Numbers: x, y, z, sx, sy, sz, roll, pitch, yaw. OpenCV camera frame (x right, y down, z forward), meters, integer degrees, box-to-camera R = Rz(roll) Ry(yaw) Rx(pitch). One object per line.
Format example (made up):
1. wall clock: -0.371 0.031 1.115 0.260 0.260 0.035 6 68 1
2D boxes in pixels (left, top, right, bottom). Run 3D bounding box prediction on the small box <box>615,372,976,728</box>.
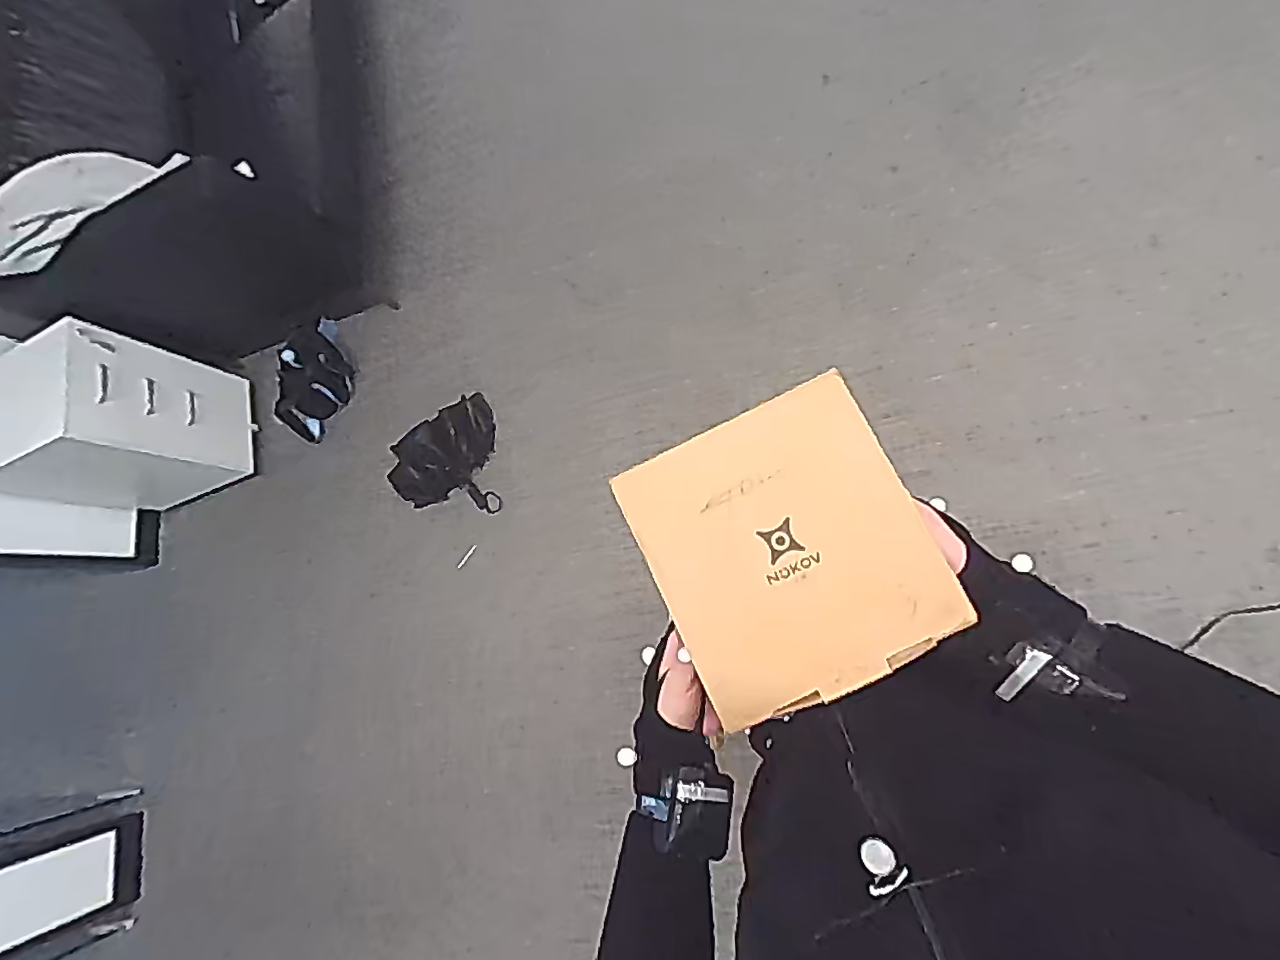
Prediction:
1. small box: 0.101 0.051 0.414 0.168 0.176 0.179 -26 78 2
